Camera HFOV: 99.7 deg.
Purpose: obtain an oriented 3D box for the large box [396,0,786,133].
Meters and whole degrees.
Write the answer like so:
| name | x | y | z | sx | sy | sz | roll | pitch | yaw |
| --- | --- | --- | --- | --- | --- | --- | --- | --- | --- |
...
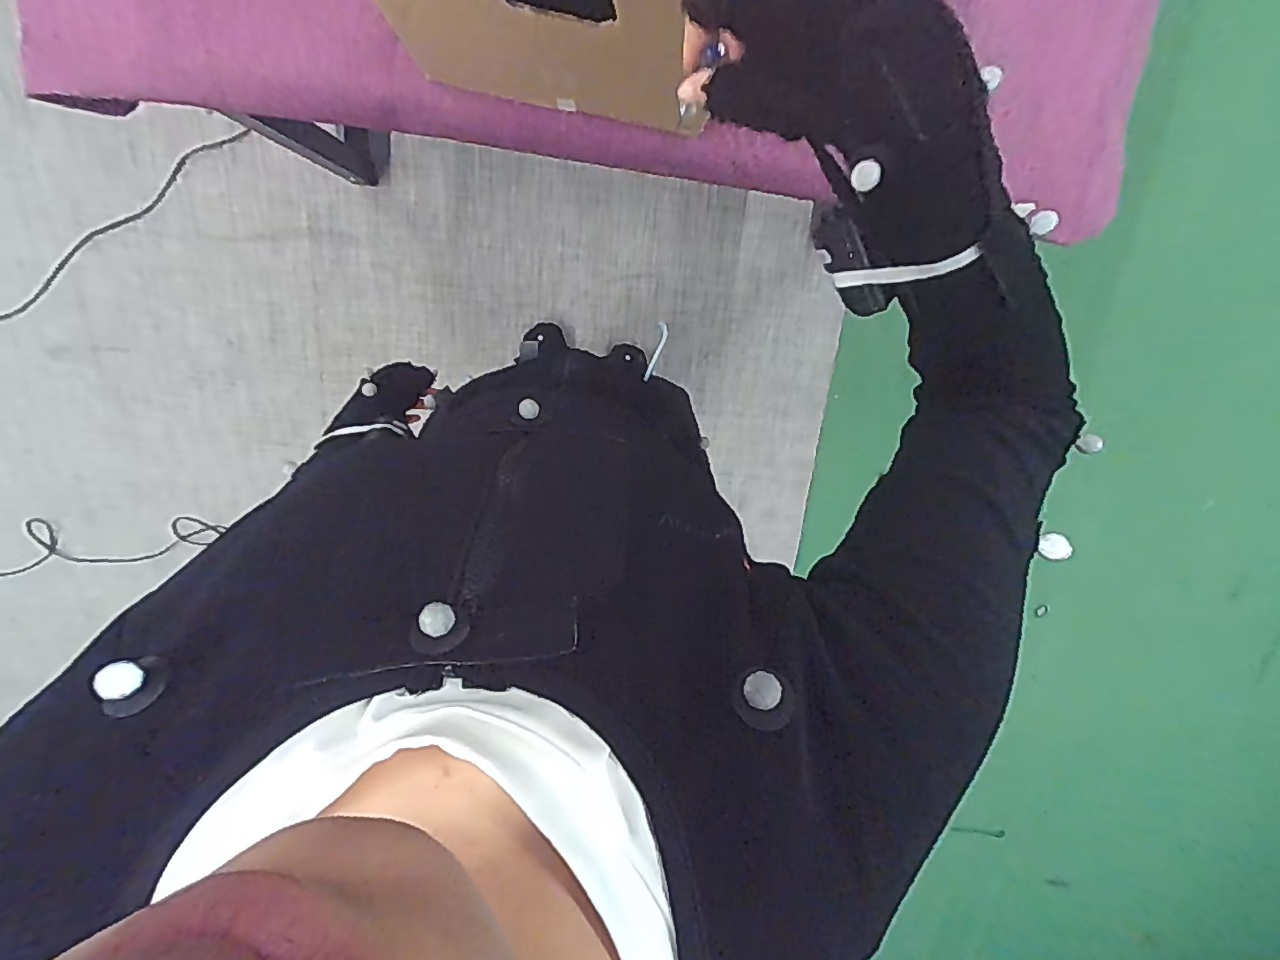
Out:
| name | x | y | z | sx | sy | sz | roll | pitch | yaw |
| --- | --- | --- | --- | --- | --- | --- | --- | --- | --- |
| large box | -0.031 | -0.577 | 0.432 | 0.320 | 0.320 | 0.408 | 8 | 106 | -7 |
